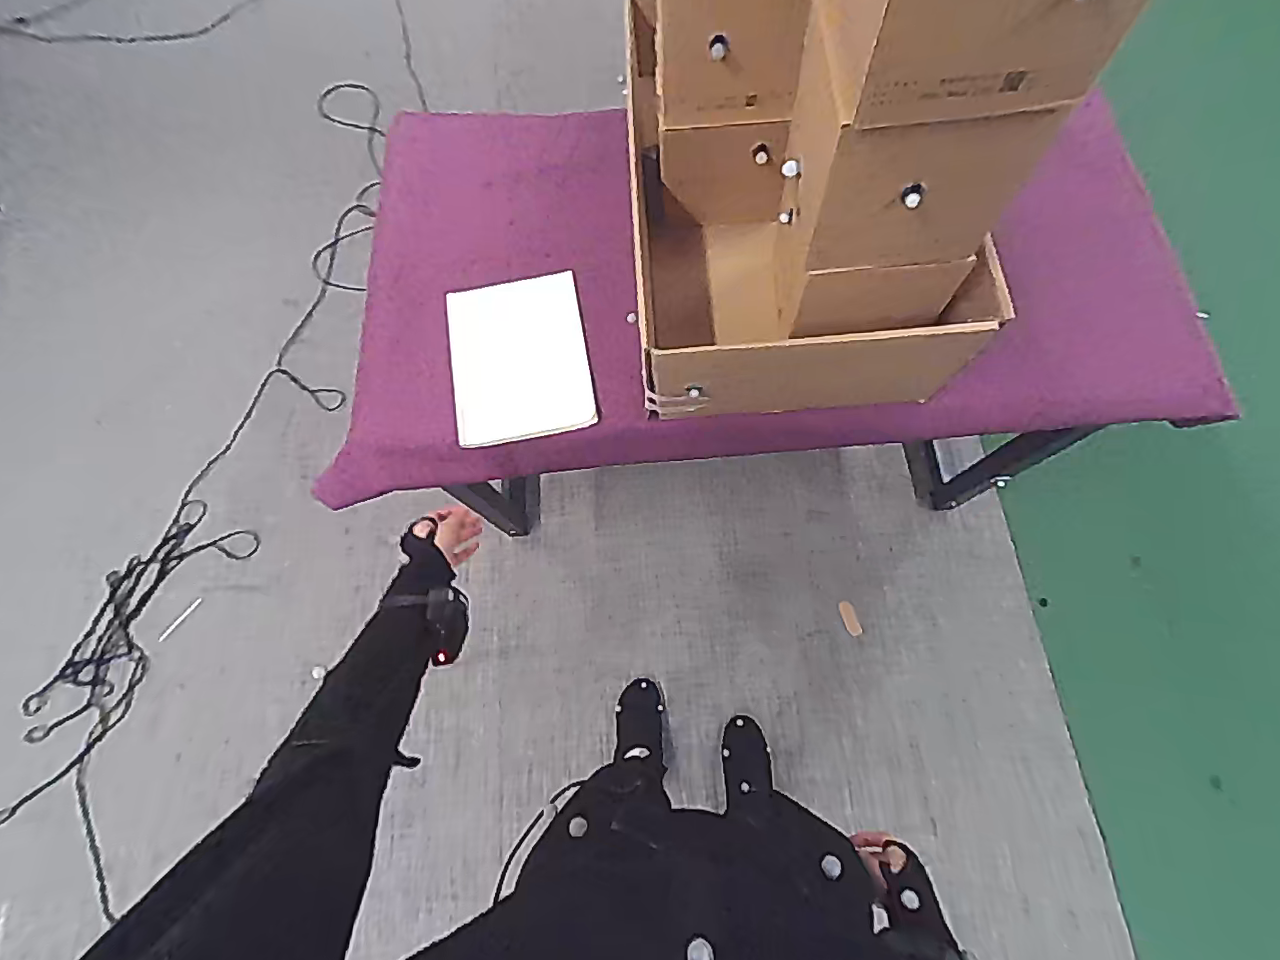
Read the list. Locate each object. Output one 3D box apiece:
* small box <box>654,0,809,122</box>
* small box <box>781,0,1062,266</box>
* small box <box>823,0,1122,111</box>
[{"bbox_3d":[0.099,-0.535,0.605,0.168,0.176,0.179,-3,73,3],"label":"small box"},{"bbox_3d":[0.243,-0.331,0.519,0.179,0.176,0.168,-3,70,5],"label":"small box"},{"bbox_3d":[0.231,-0.384,0.365,0.168,0.176,0.179,-3,70,4],"label":"small box"}]
